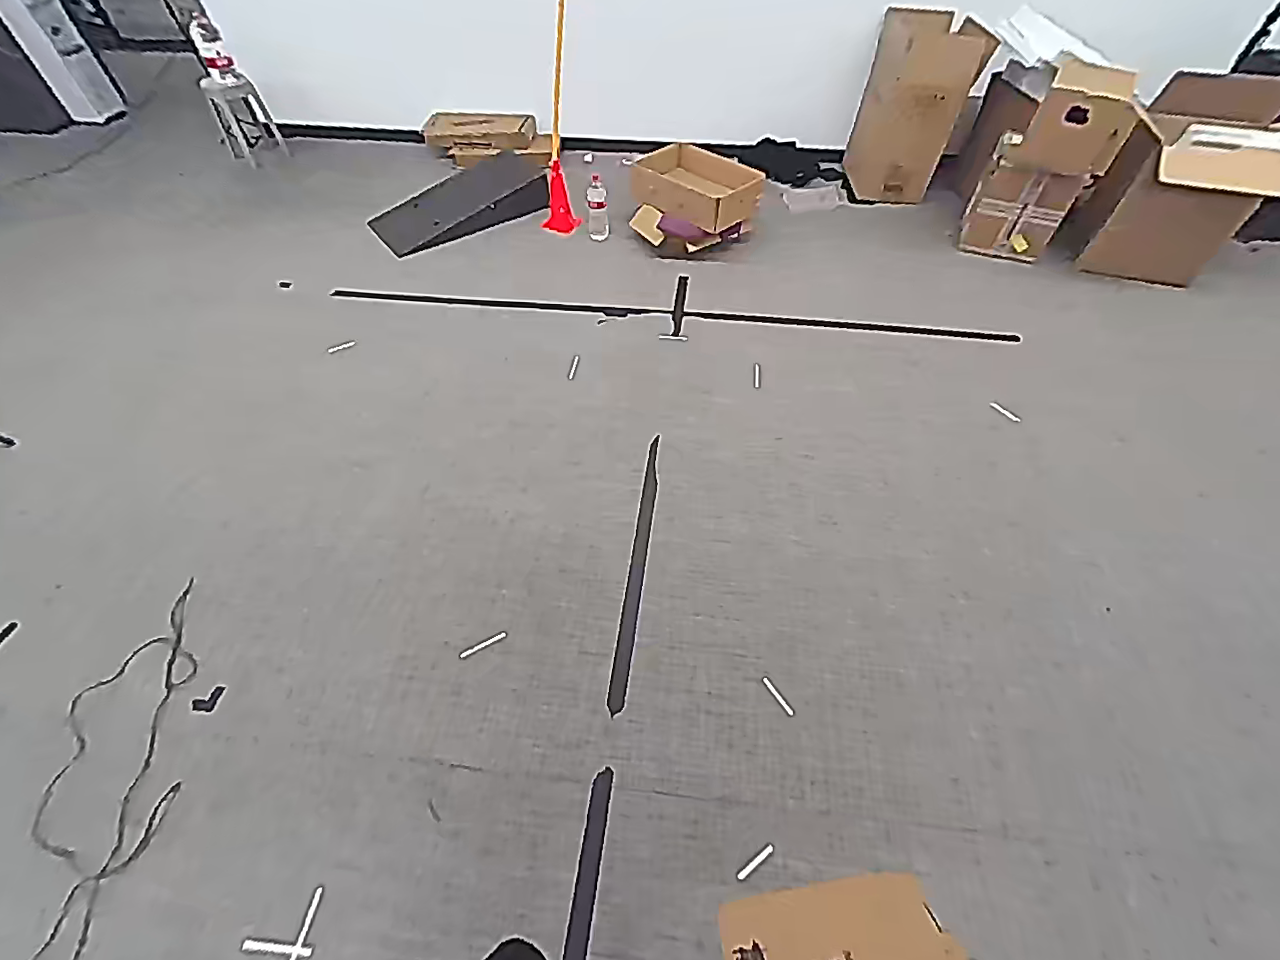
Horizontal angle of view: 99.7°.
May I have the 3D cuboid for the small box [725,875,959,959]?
[{"bbox_3d":[0.174,0.460,0.419,0.179,0.168,0.176,-11,91,2],"label":"small box"}]
